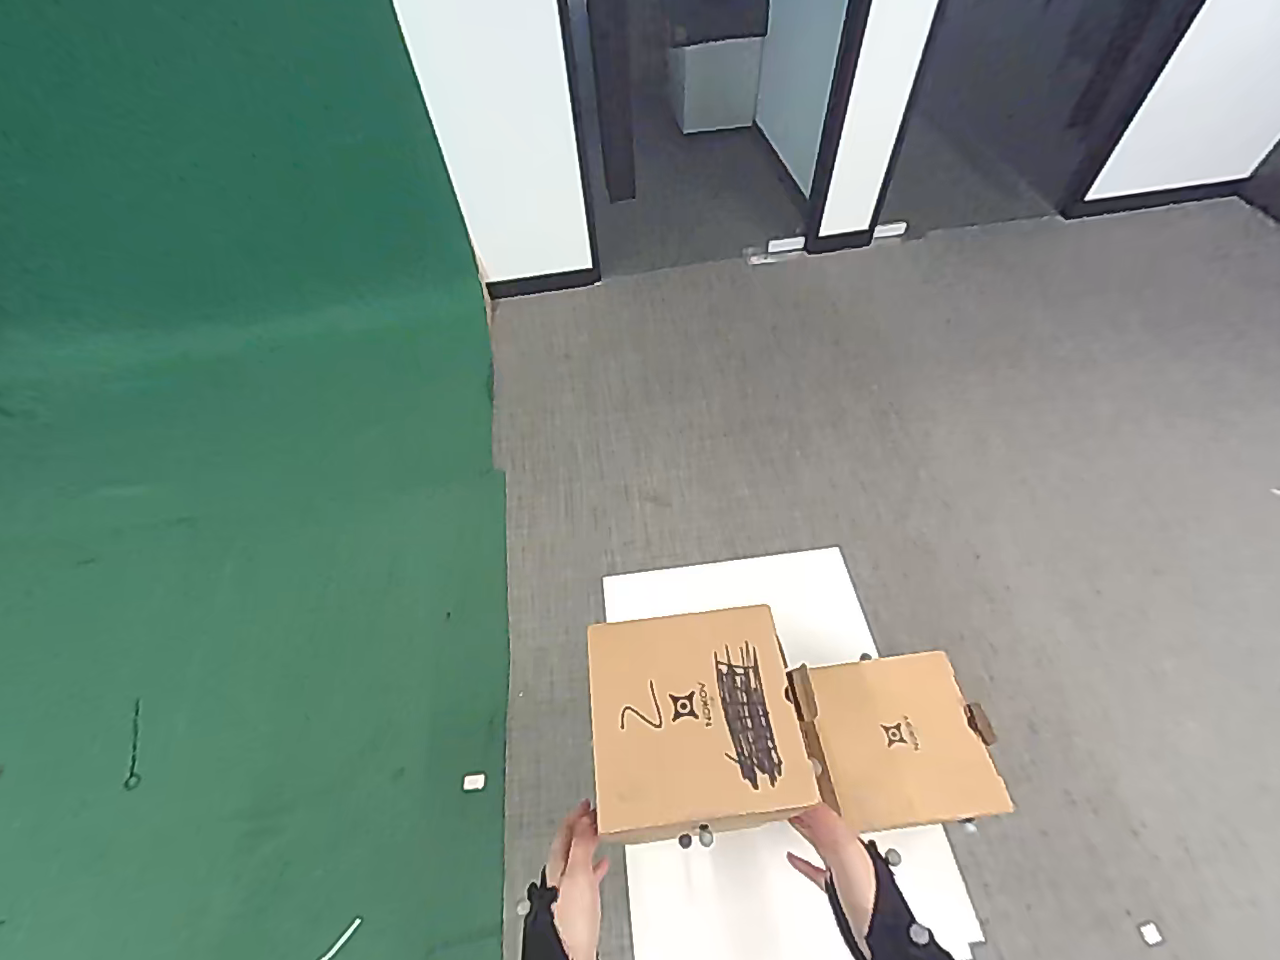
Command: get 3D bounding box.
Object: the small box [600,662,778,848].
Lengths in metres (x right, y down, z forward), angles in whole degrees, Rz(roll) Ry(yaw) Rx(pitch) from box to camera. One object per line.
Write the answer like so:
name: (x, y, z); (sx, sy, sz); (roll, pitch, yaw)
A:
small box: (0.051, 0.338, 0.657); (0.179, 0.176, 0.168); (-7, 55, -2)
